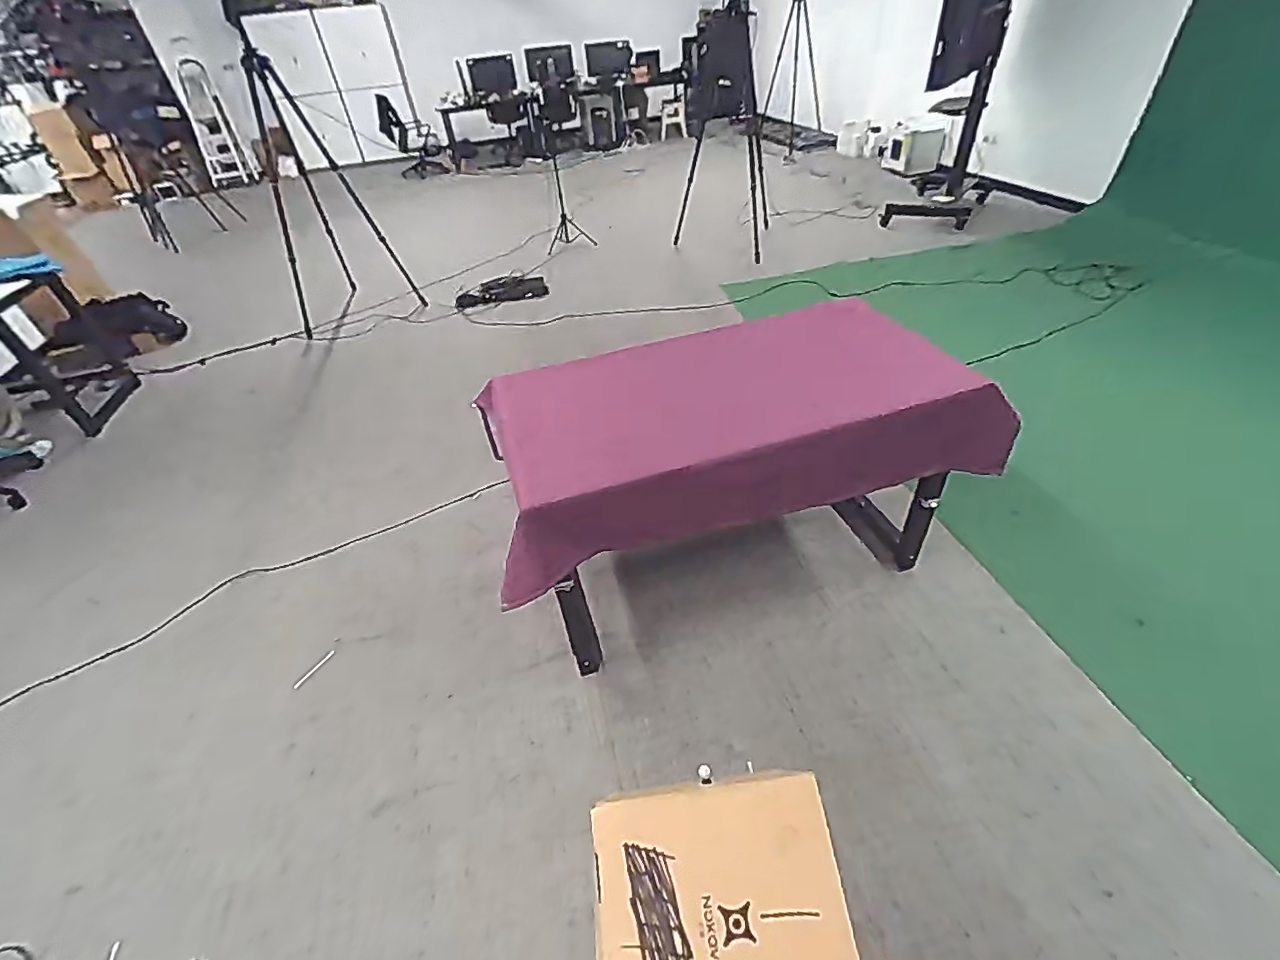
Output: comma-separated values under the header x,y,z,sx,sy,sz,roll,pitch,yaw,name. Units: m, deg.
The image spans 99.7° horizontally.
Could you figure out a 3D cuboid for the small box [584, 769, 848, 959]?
x,y,z,sx,sy,sz,roll,pitch,yaw,name
0.055,0.345,0.450,0.179,0.176,0.168,-7,62,-2,small box
